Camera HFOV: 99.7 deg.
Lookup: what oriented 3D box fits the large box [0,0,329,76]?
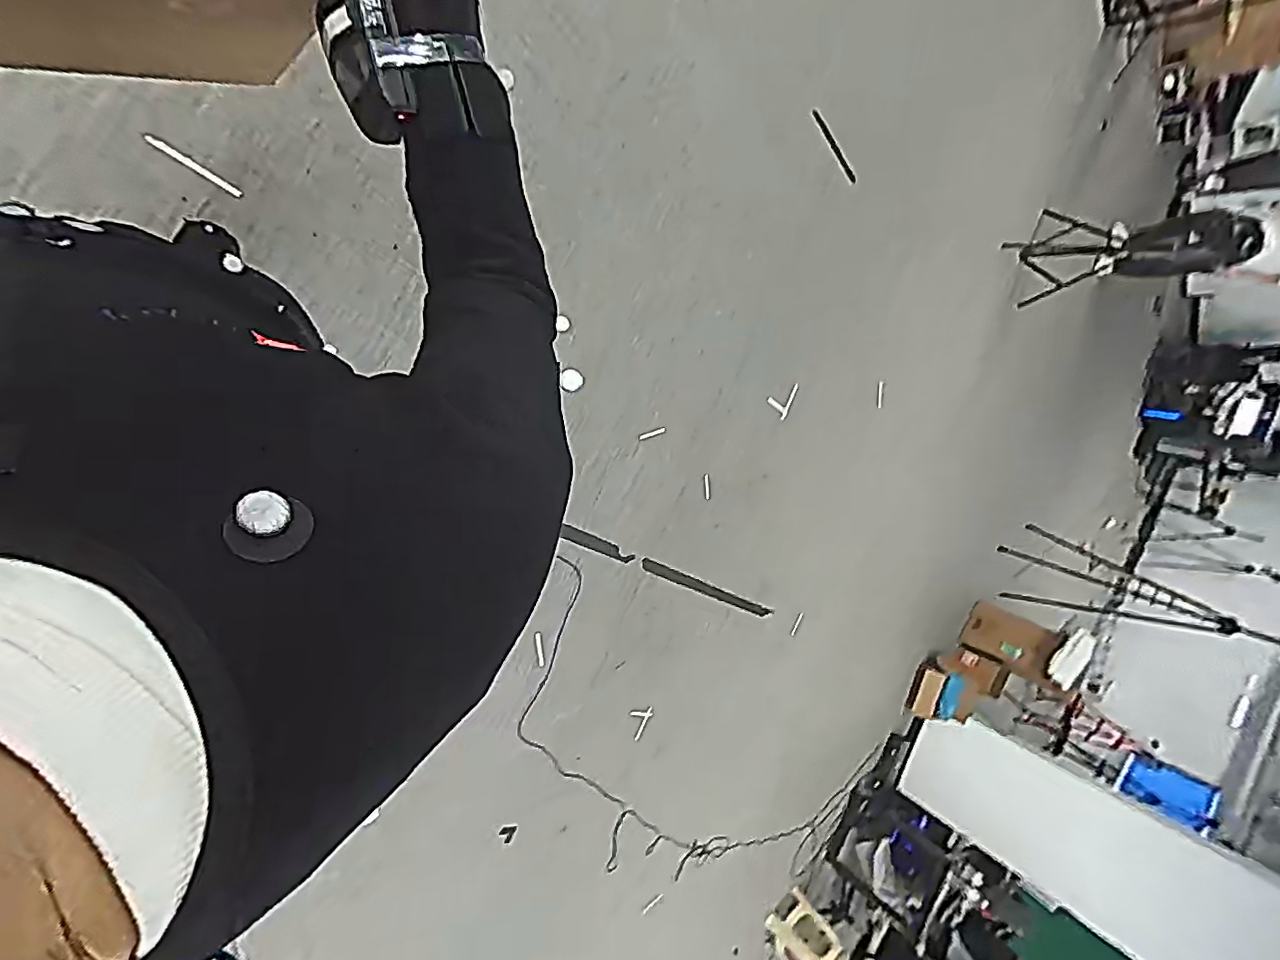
[{"bbox_3d":[-0.418,-0.402,0.235,0.408,0.320,0.320,-23,125,-34],"label":"large box"}]
